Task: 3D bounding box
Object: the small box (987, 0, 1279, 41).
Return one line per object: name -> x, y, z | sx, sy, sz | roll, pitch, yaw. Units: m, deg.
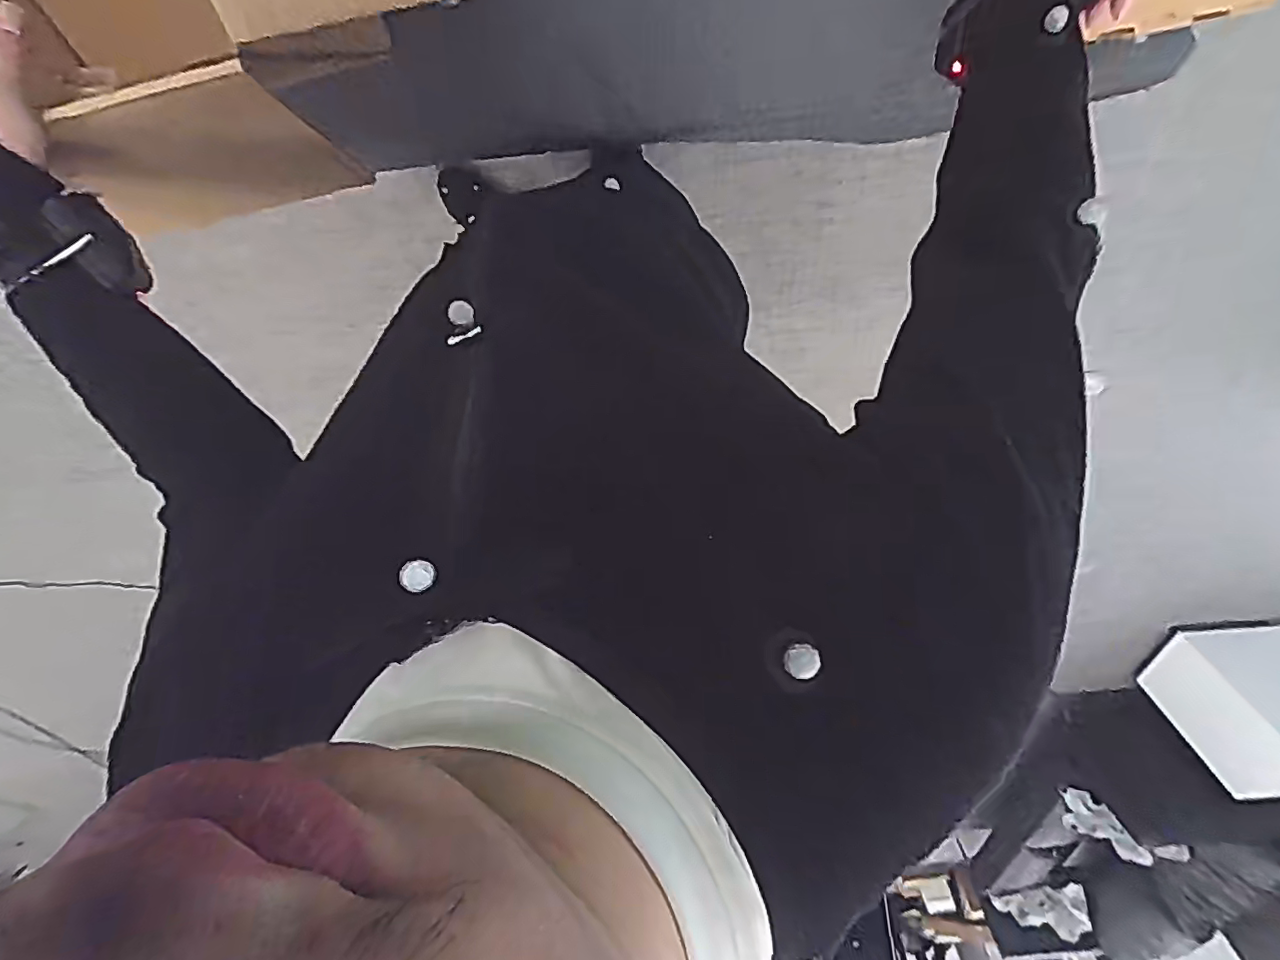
small box -> 0.428, -0.494, 0.455 | 0.168, 0.176, 0.179 | -6, 128, 6
